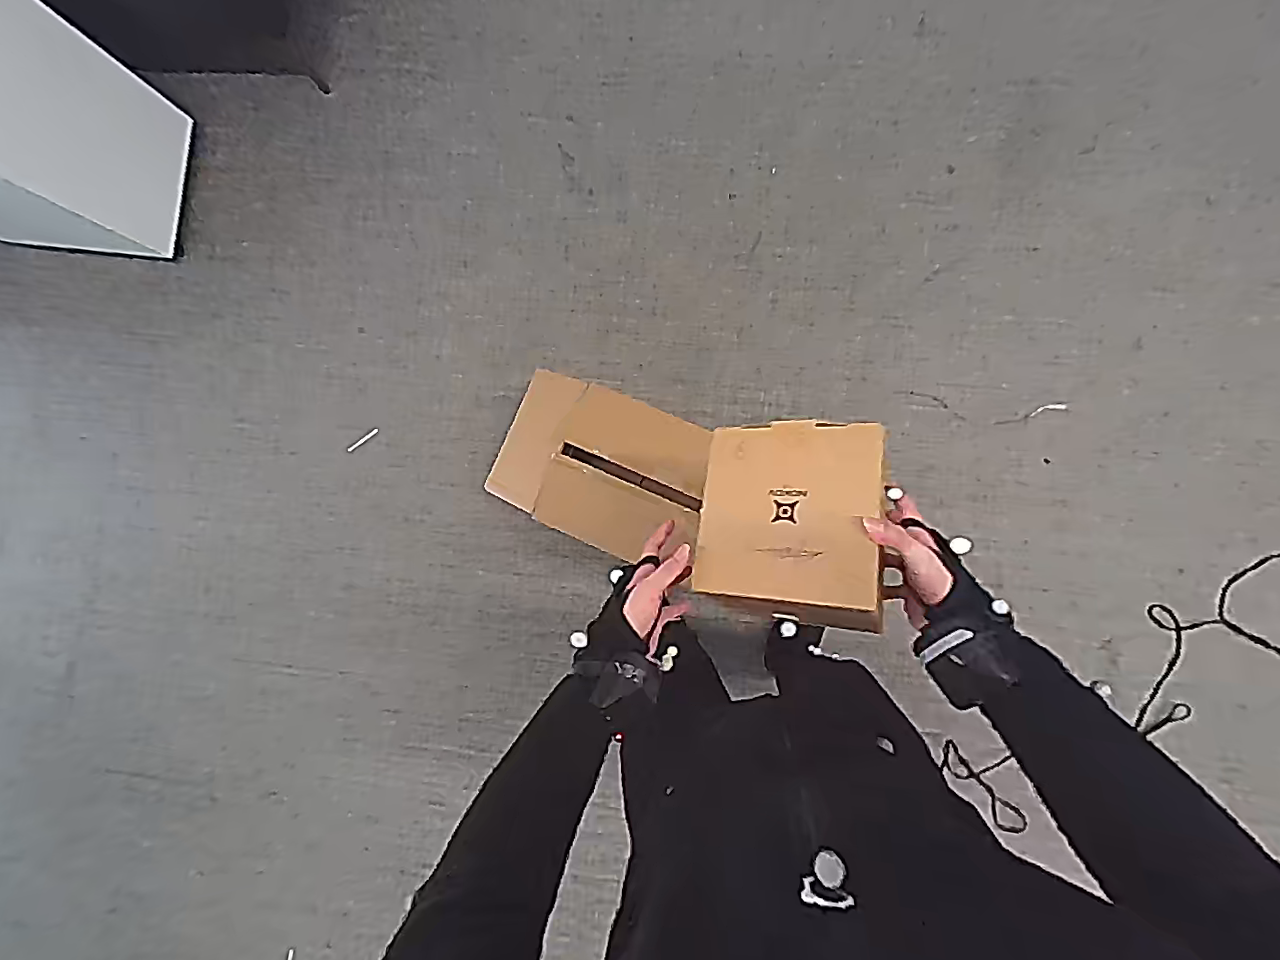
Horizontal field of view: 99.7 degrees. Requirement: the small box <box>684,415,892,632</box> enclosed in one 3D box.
[{"bbox_3d":[0.166,0.048,0.568,0.168,0.176,0.179,3,70,30],"label":"small box"}]
